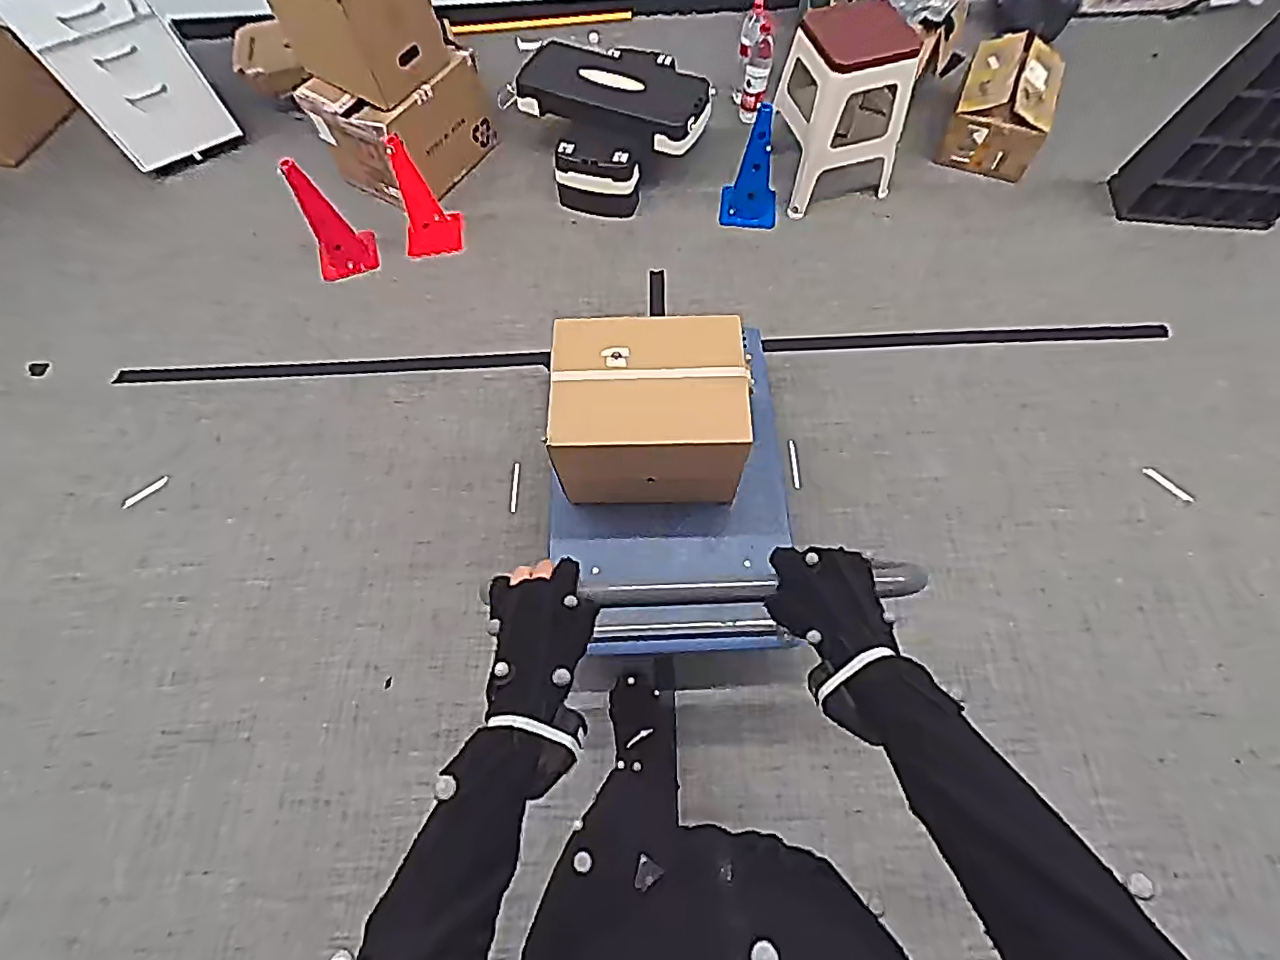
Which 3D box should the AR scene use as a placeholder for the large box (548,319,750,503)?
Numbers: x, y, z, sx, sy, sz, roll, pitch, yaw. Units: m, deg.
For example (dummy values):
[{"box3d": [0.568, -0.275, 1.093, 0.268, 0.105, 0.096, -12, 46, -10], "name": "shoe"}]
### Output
[{"box3d": [0.022, -0.143, 1.250, 0.408, 0.320, 0.320, -1, 66, 2], "name": "large box"}]
